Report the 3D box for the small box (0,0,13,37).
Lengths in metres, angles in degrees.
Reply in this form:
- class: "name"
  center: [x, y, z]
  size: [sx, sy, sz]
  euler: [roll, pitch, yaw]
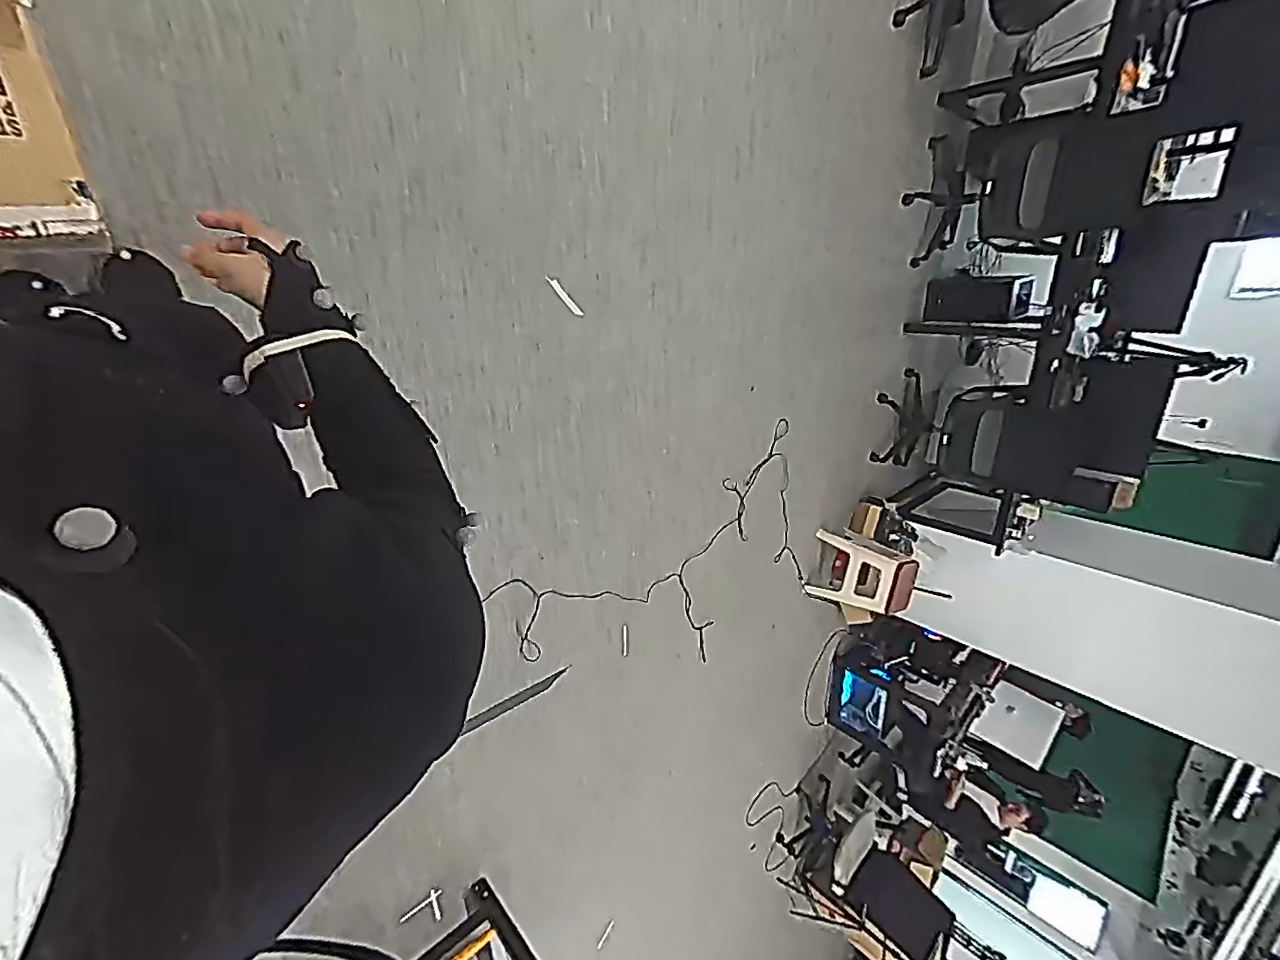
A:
- class: "small box"
  center: [-0.640, -0.474, 0.416]
  size: [0.179, 0.176, 0.168]
  euler: [-19, 118, -40]
